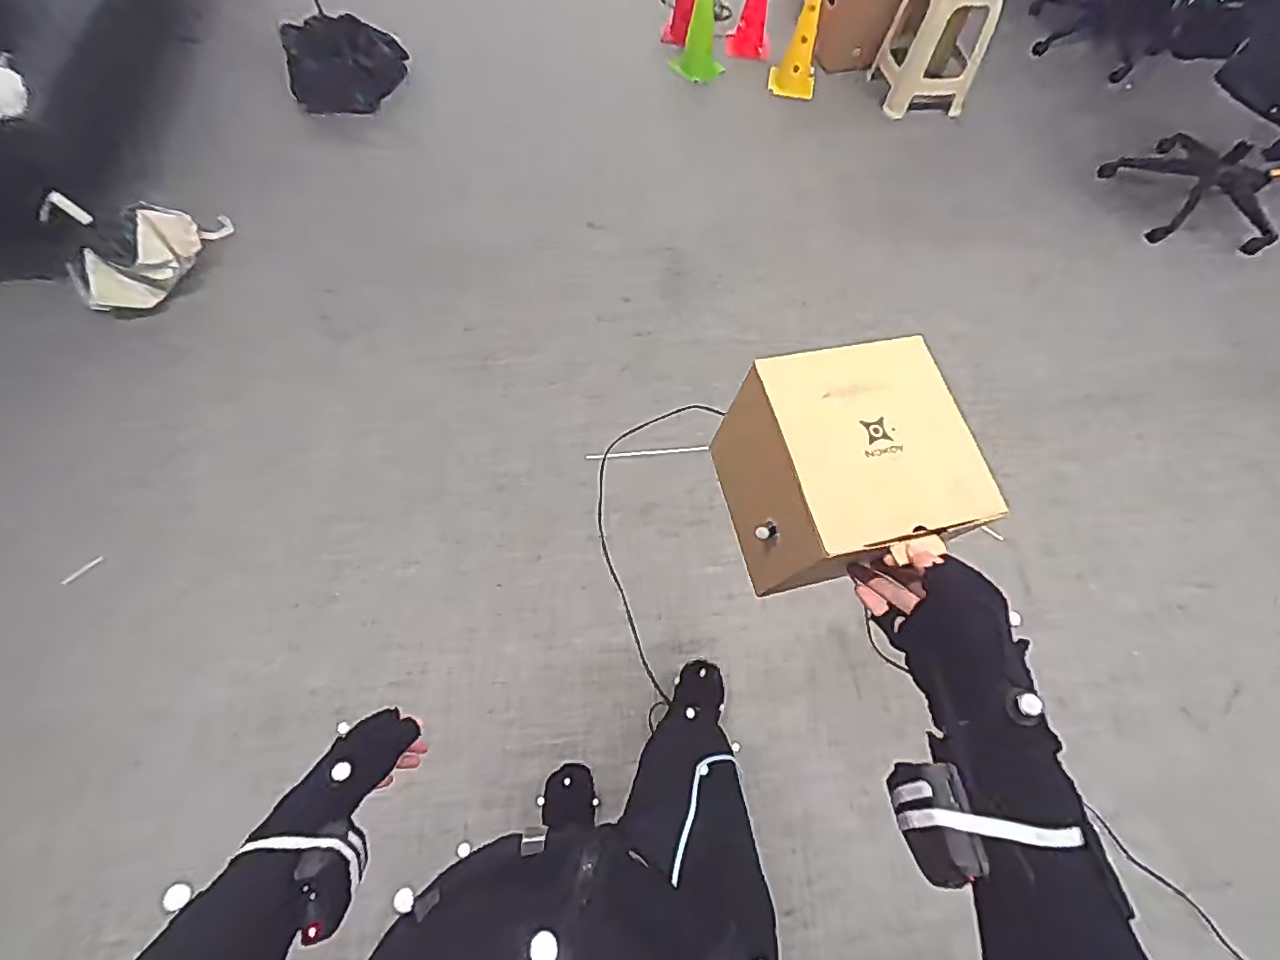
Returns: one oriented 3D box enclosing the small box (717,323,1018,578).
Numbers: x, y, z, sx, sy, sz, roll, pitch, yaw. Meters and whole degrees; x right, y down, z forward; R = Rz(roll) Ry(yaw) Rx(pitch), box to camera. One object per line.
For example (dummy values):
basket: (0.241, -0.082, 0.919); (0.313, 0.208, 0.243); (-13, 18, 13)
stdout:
small box: (0.187, -0.015, 0.505); (0.168, 0.176, 0.179); (-11, 69, -11)
